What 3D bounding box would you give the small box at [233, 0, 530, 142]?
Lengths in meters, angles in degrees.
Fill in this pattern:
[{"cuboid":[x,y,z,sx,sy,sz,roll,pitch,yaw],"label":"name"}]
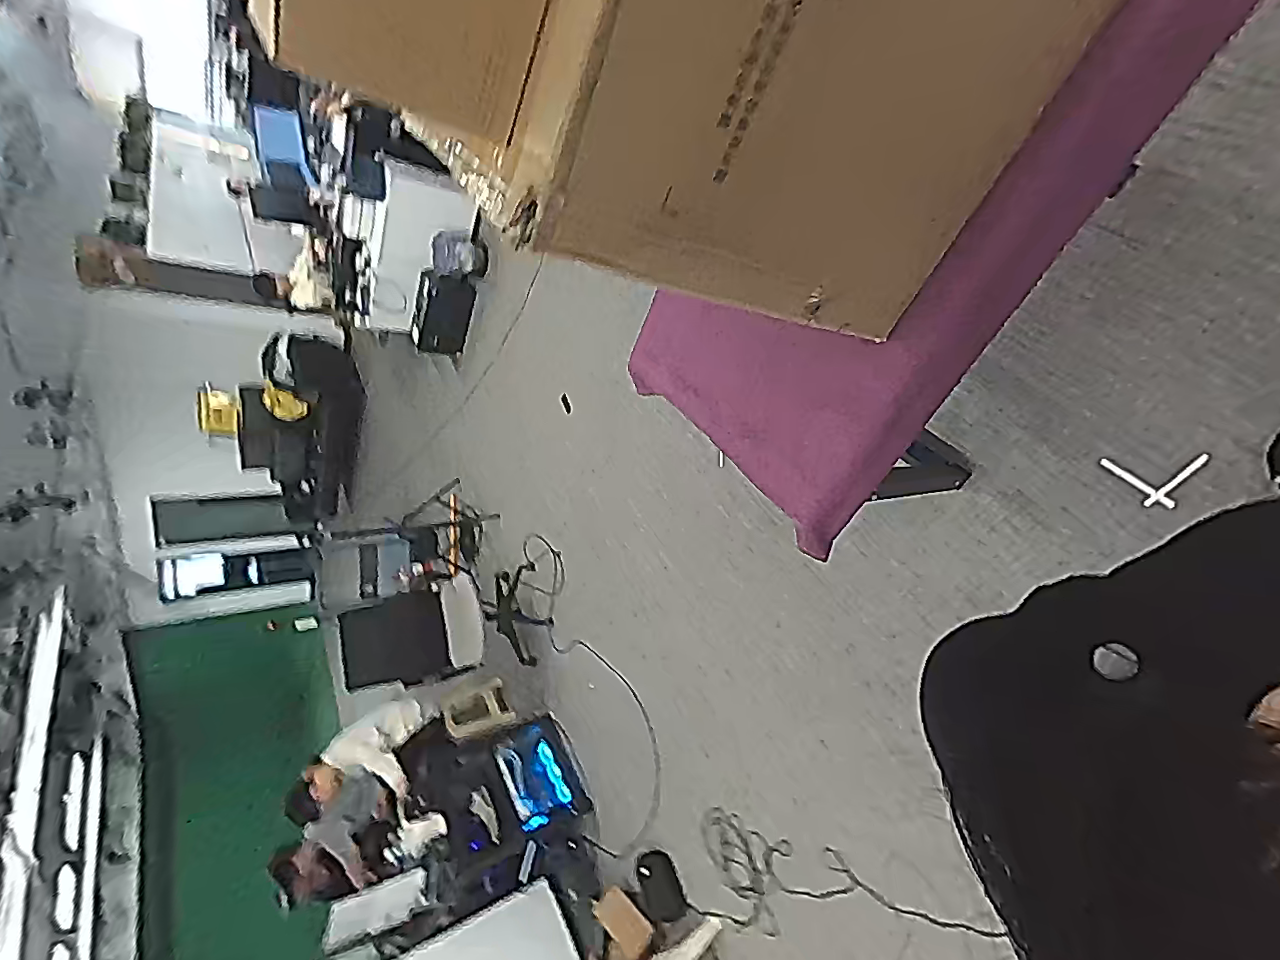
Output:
[{"cuboid":[-0.185,-0.389,0.393,0.168,0.176,0.179,54,131,34],"label":"small box"}]
